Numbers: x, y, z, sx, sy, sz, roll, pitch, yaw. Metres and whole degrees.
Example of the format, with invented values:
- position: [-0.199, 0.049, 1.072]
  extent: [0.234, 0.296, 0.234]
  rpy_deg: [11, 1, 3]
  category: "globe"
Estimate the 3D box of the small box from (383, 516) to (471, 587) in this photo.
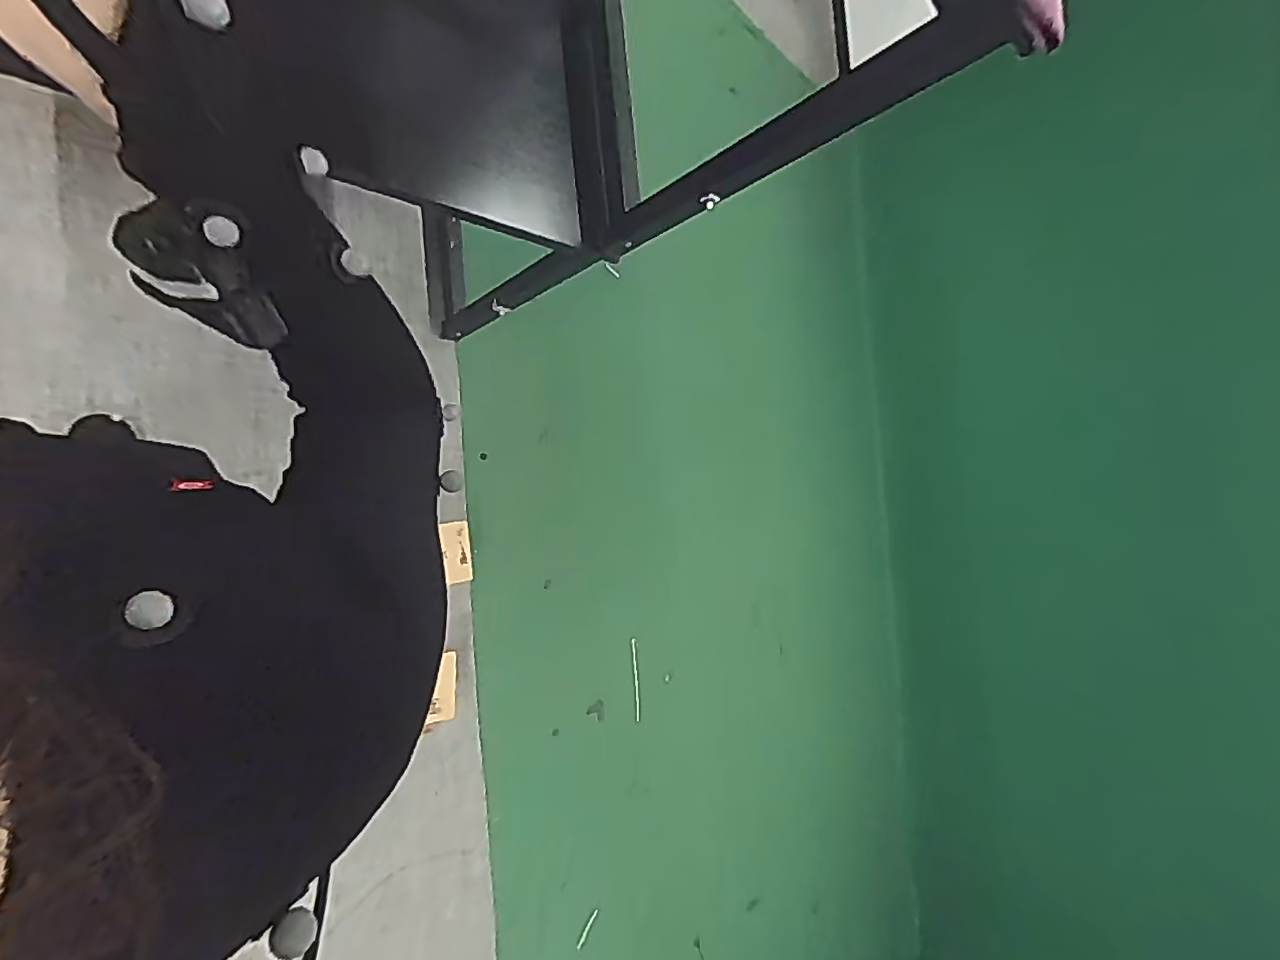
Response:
- position: [-0.583, 0.191, 1.468]
  extent: [0.179, 0.176, 0.168]
  rpy_deg: [-5, 89, -44]
  category: "small box"
